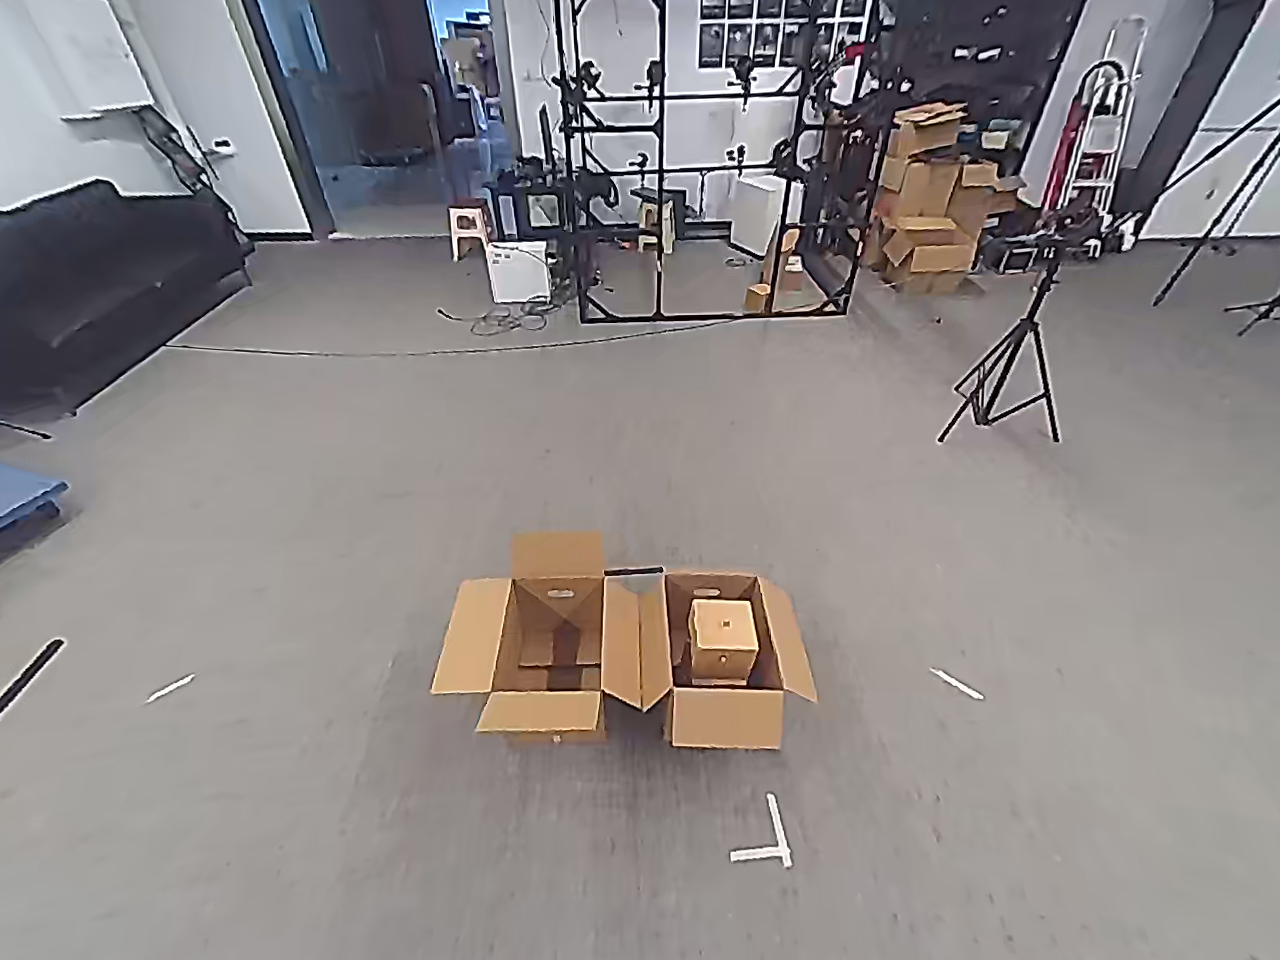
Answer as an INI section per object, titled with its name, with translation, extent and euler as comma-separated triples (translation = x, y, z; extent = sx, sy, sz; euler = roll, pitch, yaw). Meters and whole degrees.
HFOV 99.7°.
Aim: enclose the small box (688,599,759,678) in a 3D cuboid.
[small box]
translation = 0.241, 0.473, 1.611
extent = 0.179, 0.176, 0.168
euler = 2, 42, -2
